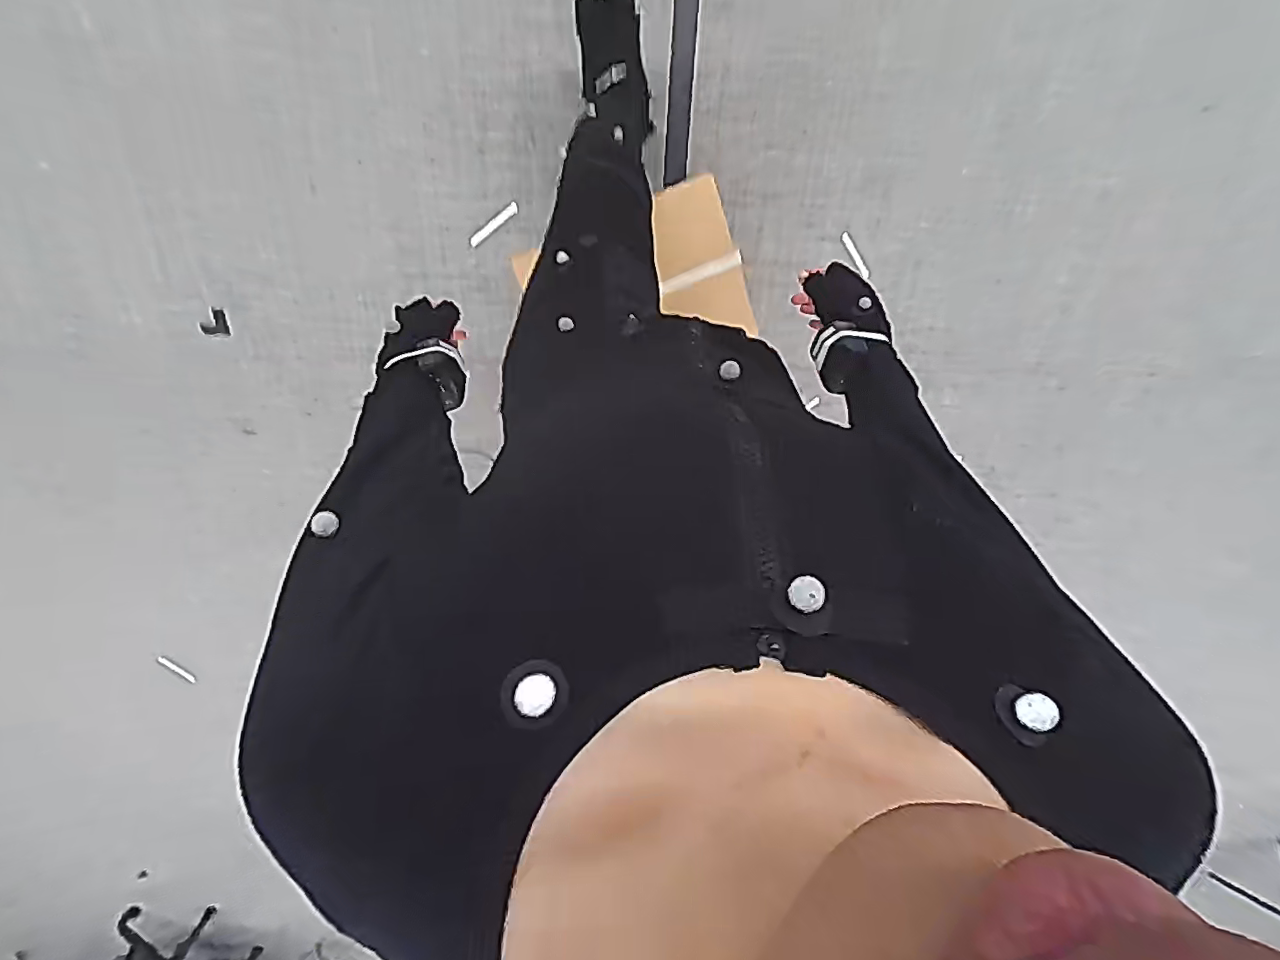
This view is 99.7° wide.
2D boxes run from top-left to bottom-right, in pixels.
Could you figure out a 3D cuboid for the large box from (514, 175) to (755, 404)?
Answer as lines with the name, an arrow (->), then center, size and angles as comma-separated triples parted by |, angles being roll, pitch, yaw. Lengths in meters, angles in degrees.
large box -> -0.004, -0.423, 1.191 | 0.408, 0.320, 0.320 | -20, 115, 10
